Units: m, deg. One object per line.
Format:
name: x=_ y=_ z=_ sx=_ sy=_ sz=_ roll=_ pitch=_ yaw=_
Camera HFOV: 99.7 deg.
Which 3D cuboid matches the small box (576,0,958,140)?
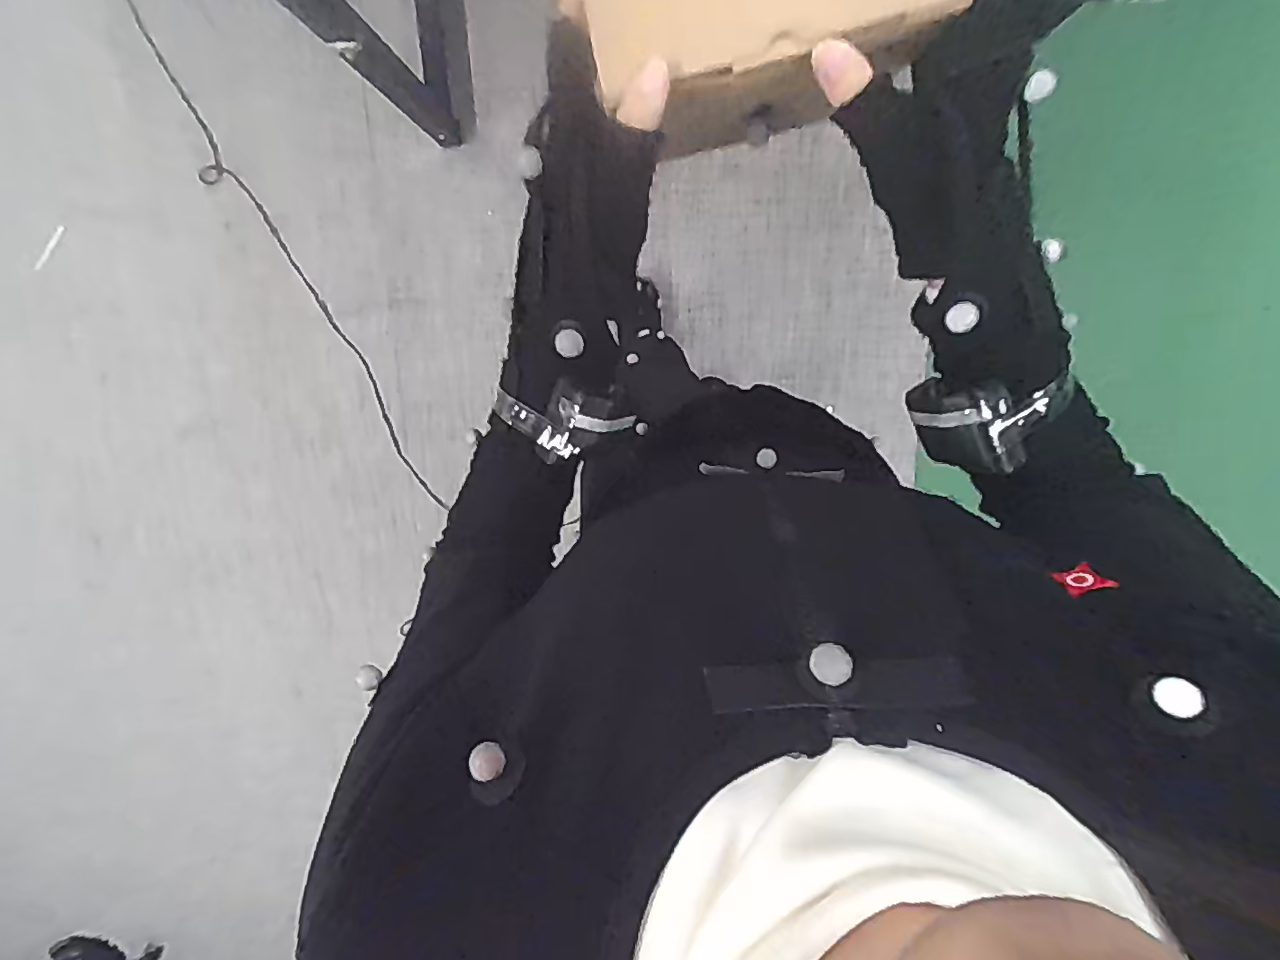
small box: x=0.047 y=-0.298 z=0.282 sx=0.168 sy=0.176 sz=0.179 roll=-10 pitch=112 yaw=7
